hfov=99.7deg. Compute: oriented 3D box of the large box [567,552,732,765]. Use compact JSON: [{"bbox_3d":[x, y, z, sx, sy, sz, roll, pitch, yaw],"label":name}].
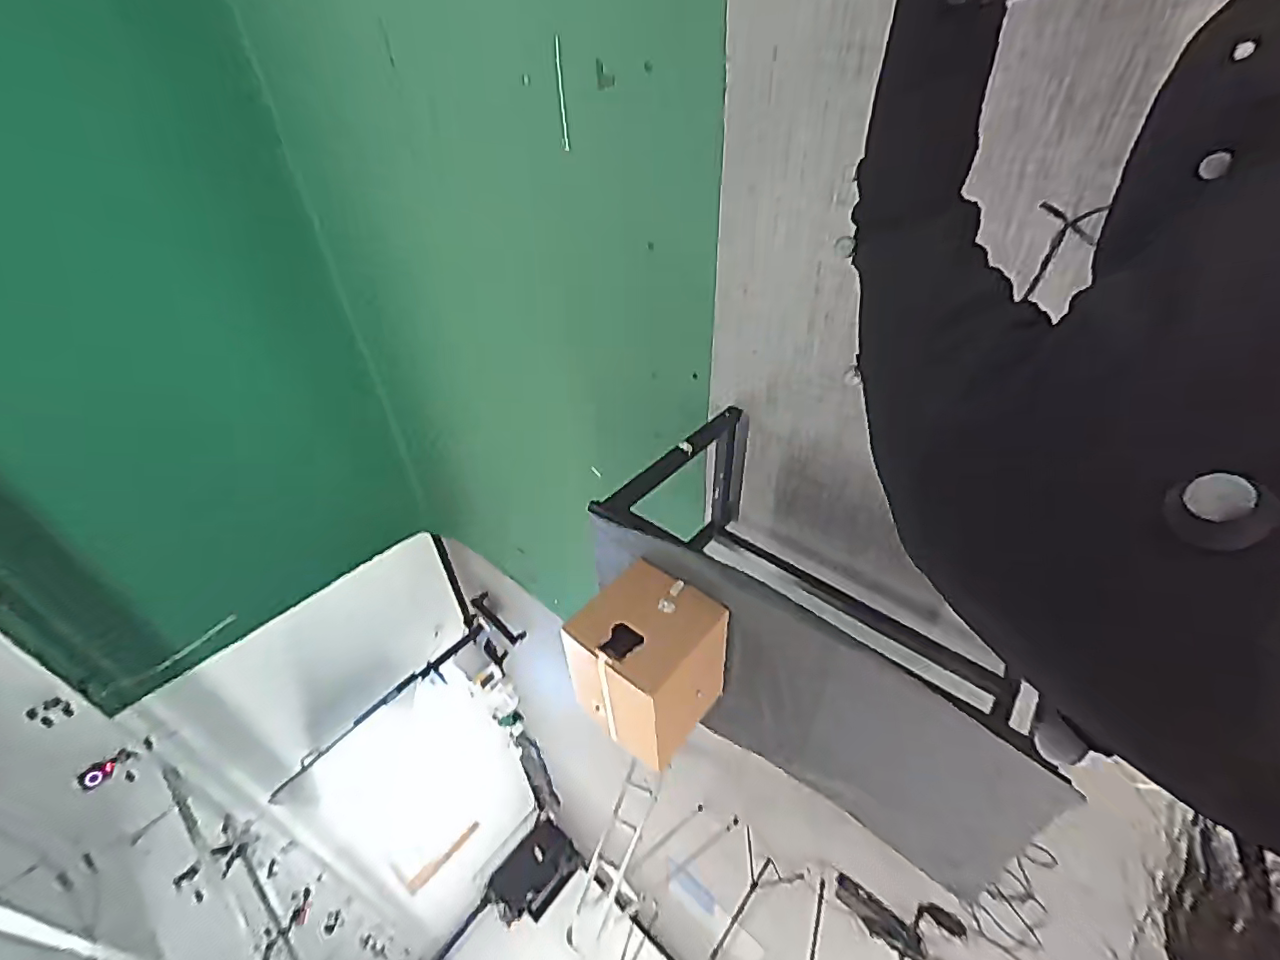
[{"bbox_3d":[0.041,0.478,1.486,0.320,0.320,0.408,27,139,33],"label":"large box"}]
